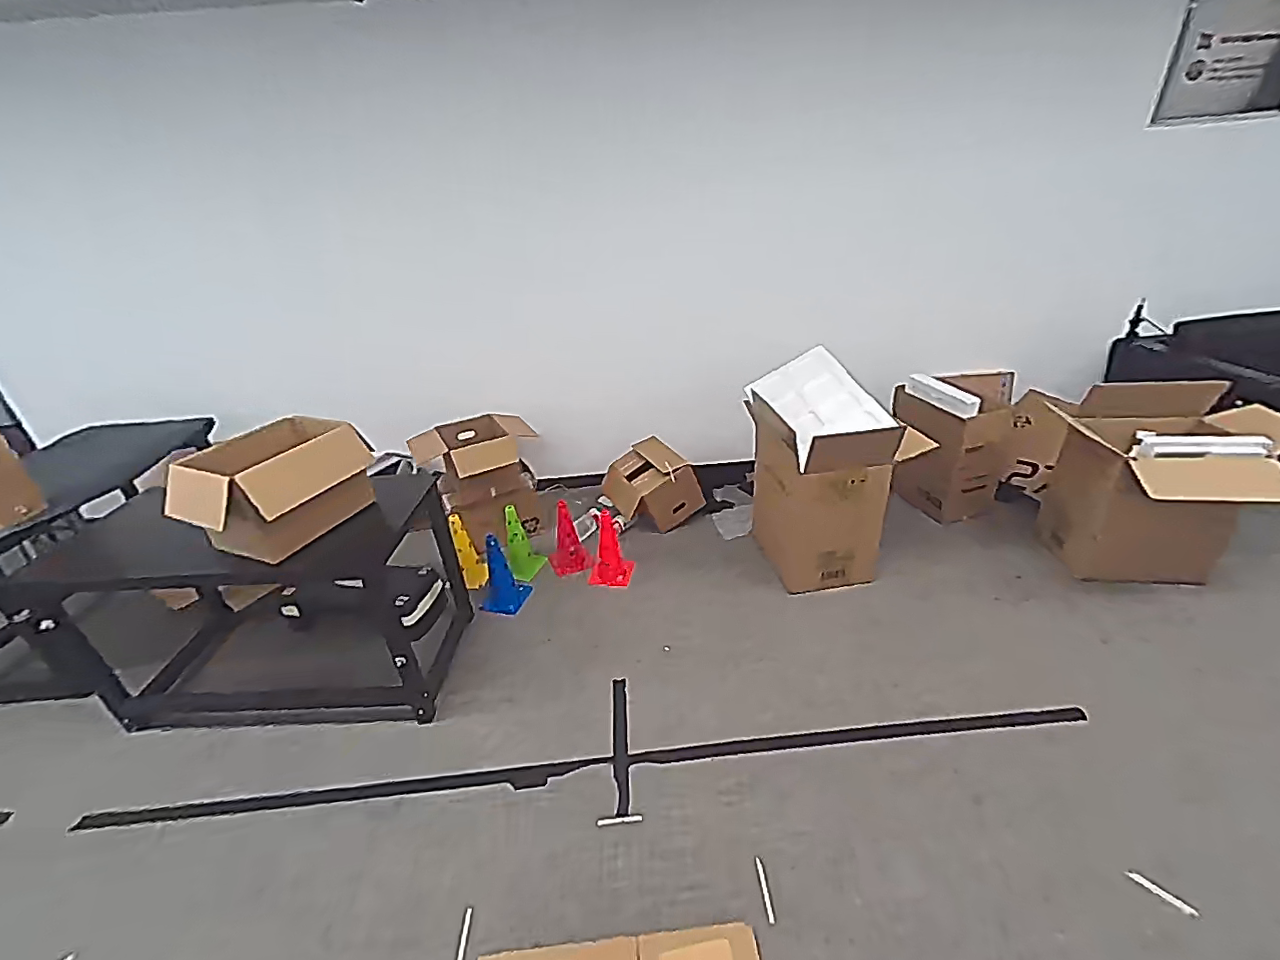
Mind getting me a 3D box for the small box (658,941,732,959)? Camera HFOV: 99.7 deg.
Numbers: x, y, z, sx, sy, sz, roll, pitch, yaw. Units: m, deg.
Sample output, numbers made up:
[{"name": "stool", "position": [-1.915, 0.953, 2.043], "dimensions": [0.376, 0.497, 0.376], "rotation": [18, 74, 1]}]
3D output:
[{"name": "small box", "position": [0.134, 1.163, 1.179], "dimensions": [0.168, 0.176, 0.179], "rotation": [-7, 29, -6]}]
